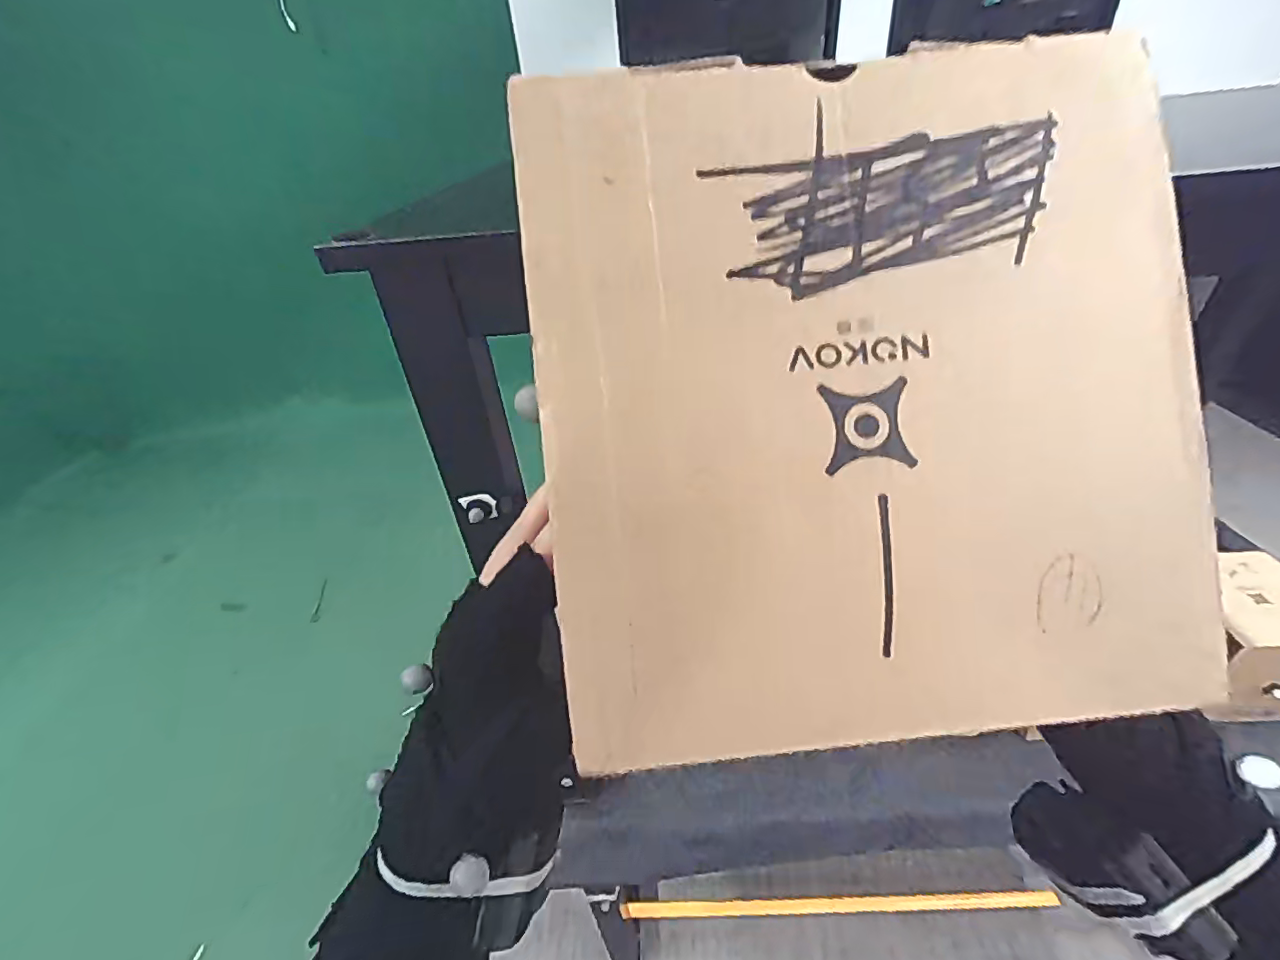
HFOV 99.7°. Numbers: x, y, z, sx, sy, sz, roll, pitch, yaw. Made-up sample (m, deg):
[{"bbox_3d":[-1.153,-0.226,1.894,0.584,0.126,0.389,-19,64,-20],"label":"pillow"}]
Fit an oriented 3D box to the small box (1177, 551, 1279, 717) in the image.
[{"bbox_3d":[0.853,0.226,0.789,0.168,0.176,0.179,-2,34,5],"label":"small box"}]
